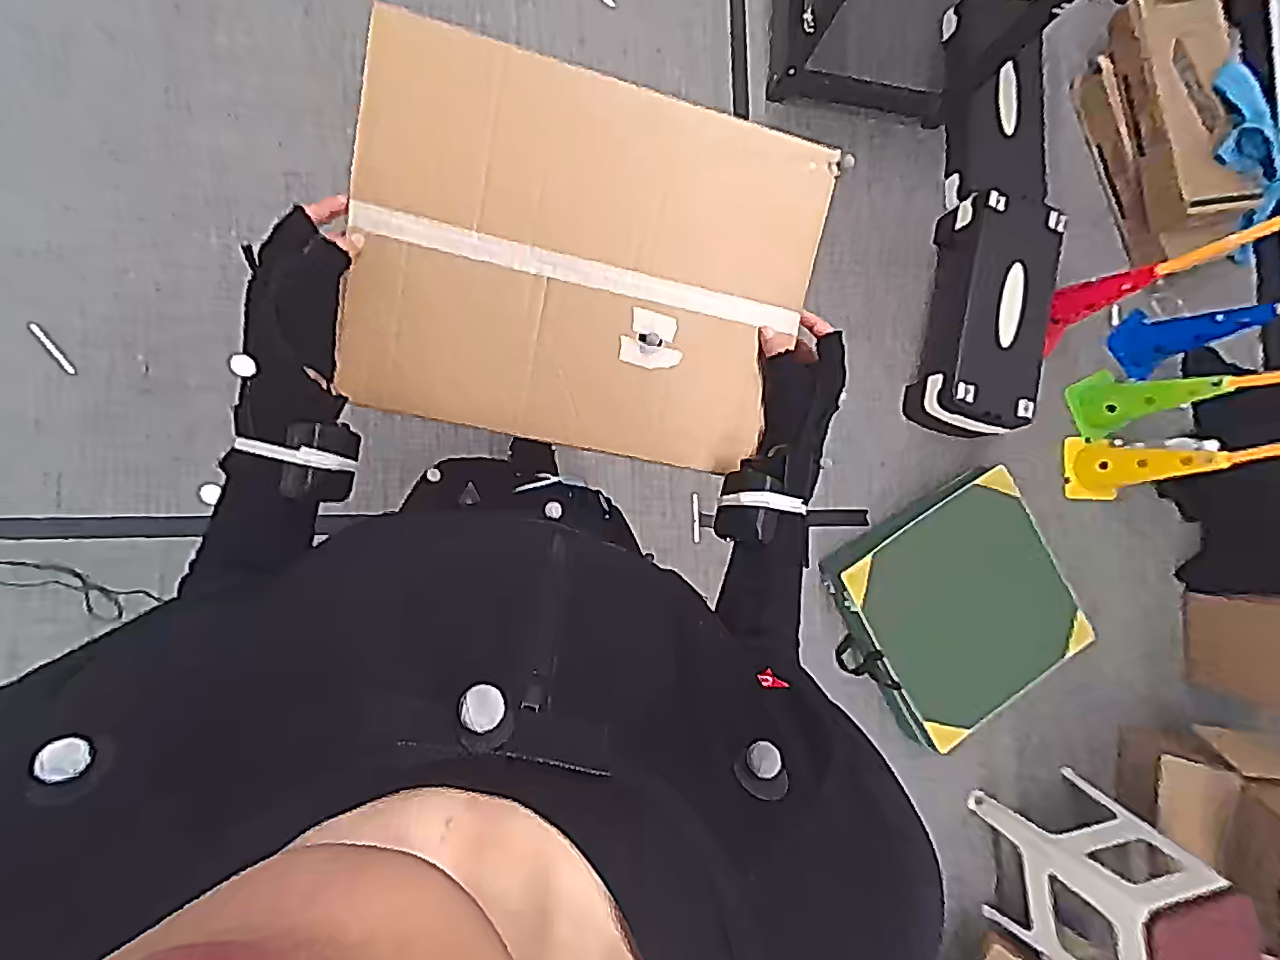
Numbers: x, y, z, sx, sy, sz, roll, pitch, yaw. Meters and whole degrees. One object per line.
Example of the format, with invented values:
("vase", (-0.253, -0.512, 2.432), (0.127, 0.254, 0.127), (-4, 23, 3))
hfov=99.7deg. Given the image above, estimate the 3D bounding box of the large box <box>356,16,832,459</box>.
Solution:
("large box", (-0.062, -0.230, 0.644), (0.408, 0.320, 0.320), (11, 101, -11))
